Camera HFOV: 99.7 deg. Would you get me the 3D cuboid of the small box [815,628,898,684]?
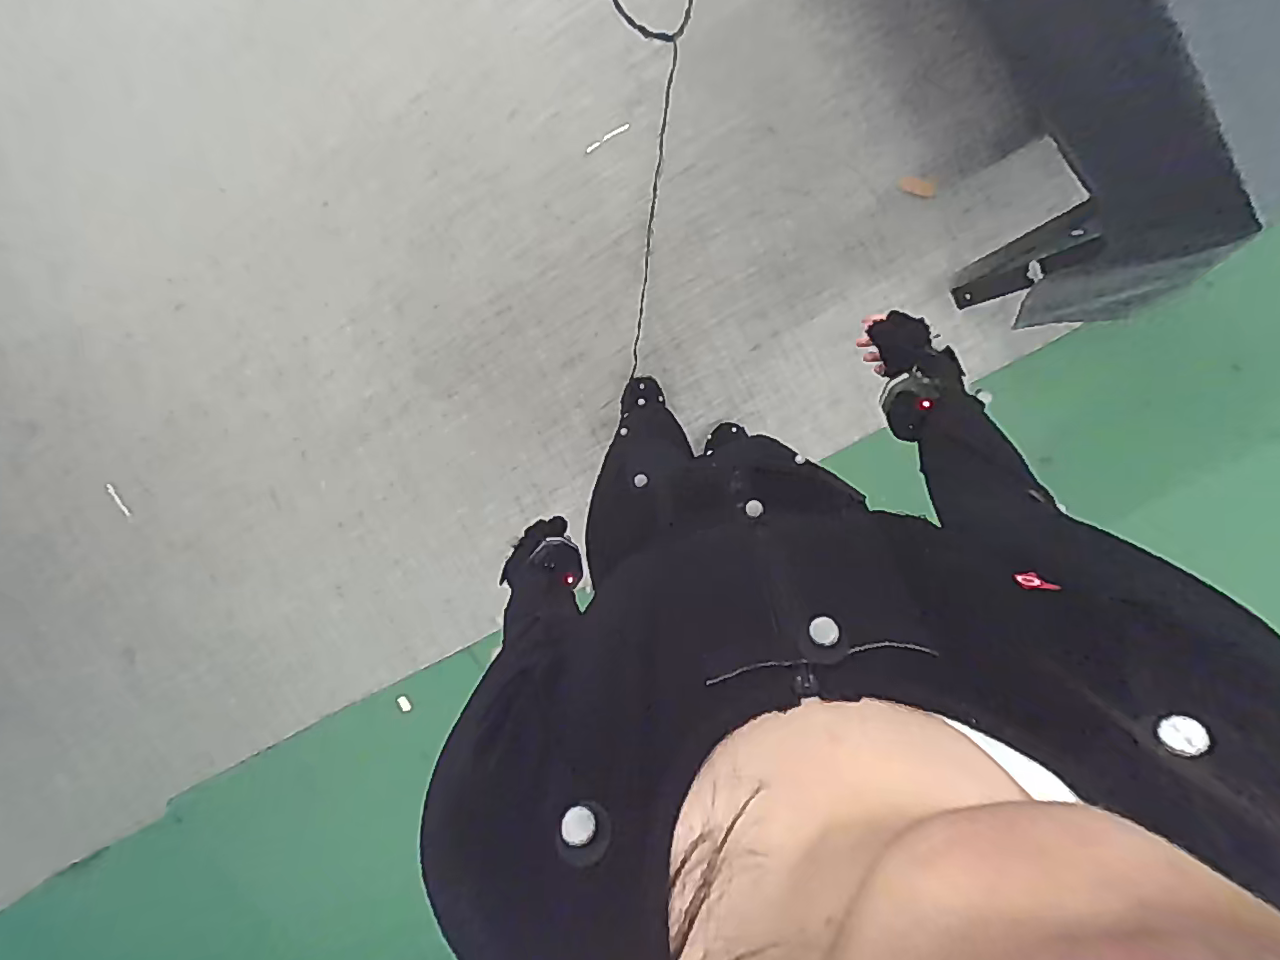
[{"bbox_3d":[0.591,0.517,1.446,0.168,0.176,0.179,-23,97,6],"label":"small box"}]
